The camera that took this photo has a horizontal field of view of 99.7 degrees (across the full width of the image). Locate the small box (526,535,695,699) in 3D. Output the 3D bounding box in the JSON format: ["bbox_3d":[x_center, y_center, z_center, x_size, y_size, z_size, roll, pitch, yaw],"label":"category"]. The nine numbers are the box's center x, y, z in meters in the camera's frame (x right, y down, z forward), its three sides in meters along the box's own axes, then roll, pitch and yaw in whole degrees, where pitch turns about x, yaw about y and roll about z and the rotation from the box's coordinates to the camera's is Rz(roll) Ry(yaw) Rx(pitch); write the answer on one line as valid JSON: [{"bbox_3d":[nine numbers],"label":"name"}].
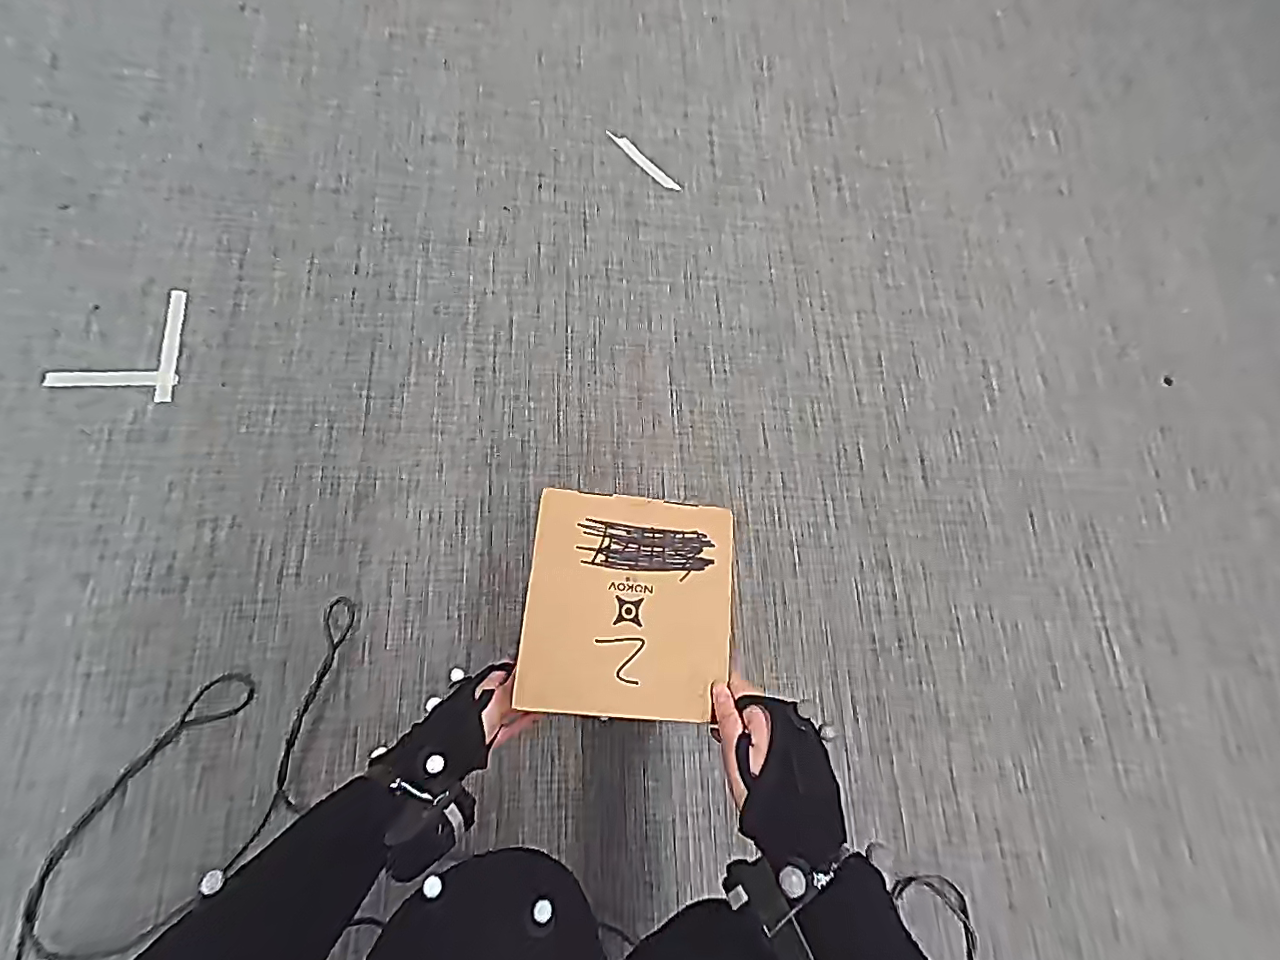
[{"bbox_3d":[-0.037,0.171,0.666,0.179,0.176,0.168,6,73,-7],"label":"small box"}]
